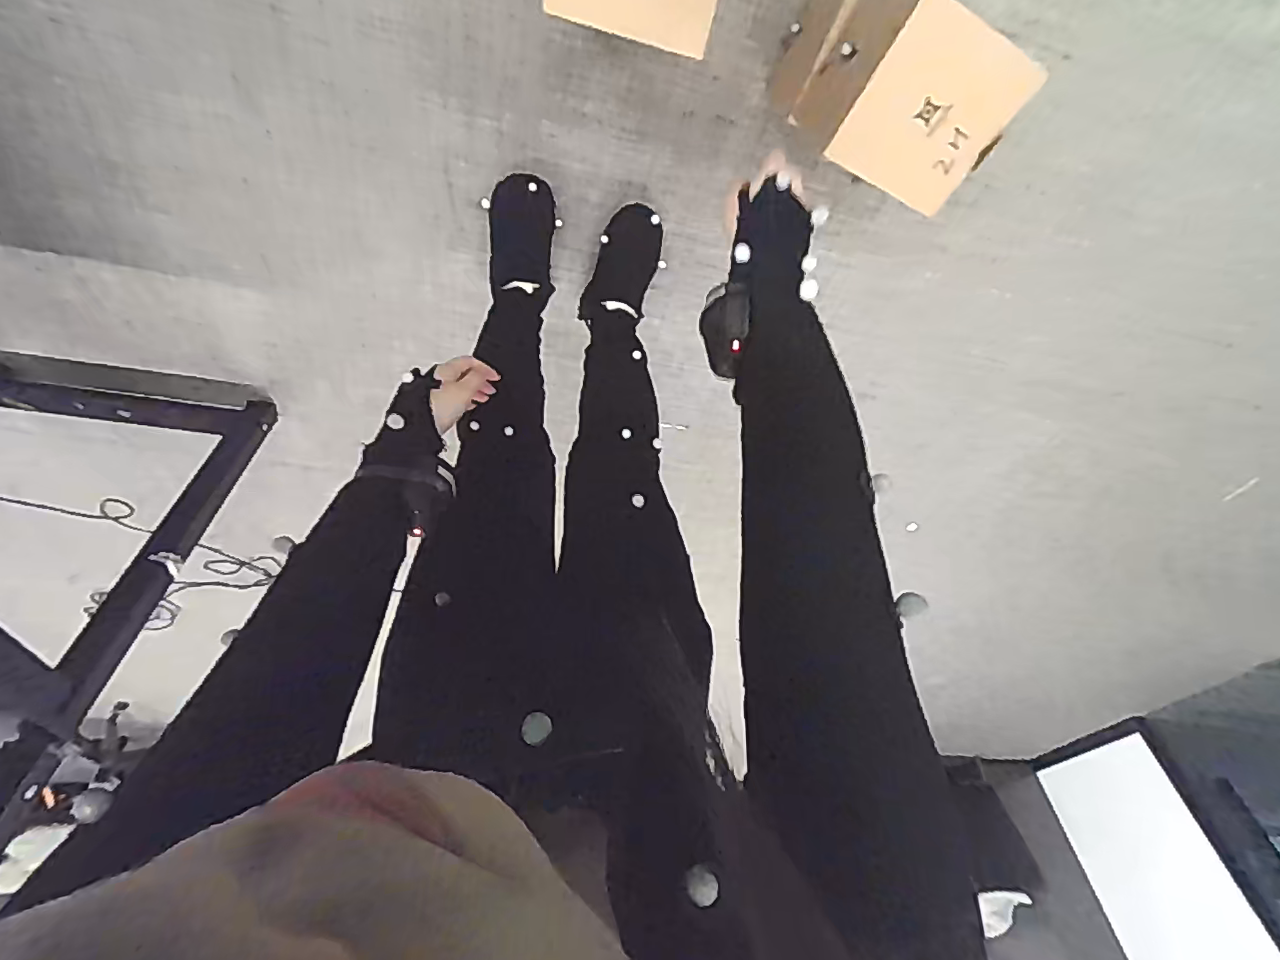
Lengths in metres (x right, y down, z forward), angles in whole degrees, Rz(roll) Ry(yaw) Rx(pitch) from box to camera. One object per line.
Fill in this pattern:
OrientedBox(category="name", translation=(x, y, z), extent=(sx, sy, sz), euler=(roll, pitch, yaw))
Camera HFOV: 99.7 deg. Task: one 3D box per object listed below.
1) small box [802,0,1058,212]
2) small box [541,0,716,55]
OrientedBox(category="small box", translation=(0.319, -0.458, 0.636), extent=(0.179, 0.176, 0.168), euler=(16, 135, -19))
OrientedBox(category="small box", translation=(0.003, -0.553, 0.523), extent=(0.168, 0.176, 0.179), euler=(8, 134, -10))
